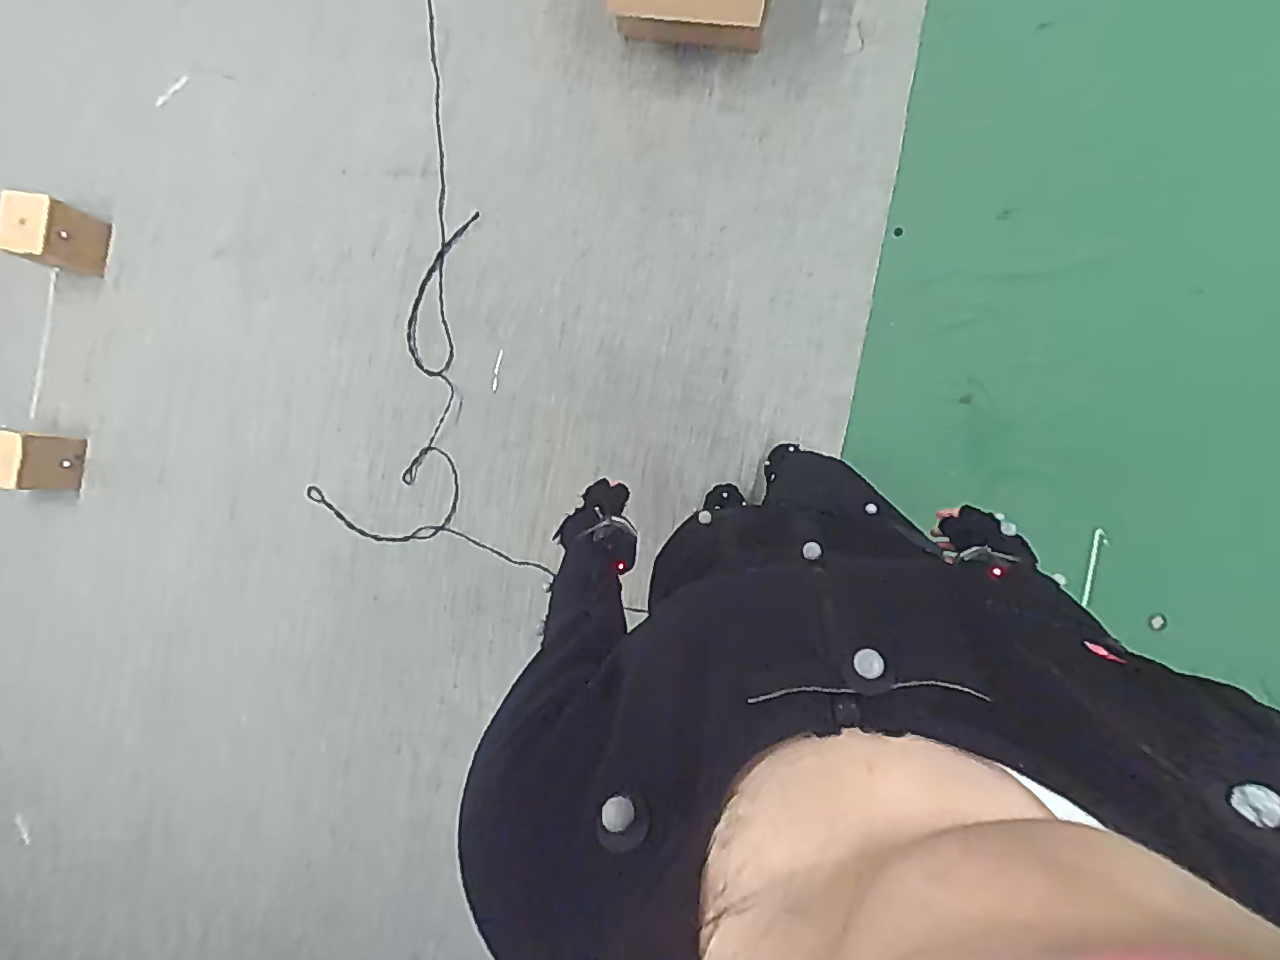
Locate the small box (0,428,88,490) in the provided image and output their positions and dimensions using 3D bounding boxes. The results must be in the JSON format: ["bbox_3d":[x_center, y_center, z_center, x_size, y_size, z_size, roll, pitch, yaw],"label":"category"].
[{"bbox_3d":[-1.858,-0.062,1.646,0.179,0.176,0.168,9,91,6],"label":"small box"}]

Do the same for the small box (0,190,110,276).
[{"bbox_3d":[-1.769,-0.742,1.636,0.168,0.176,0.179,9,91,6],"label":"small box"}]
